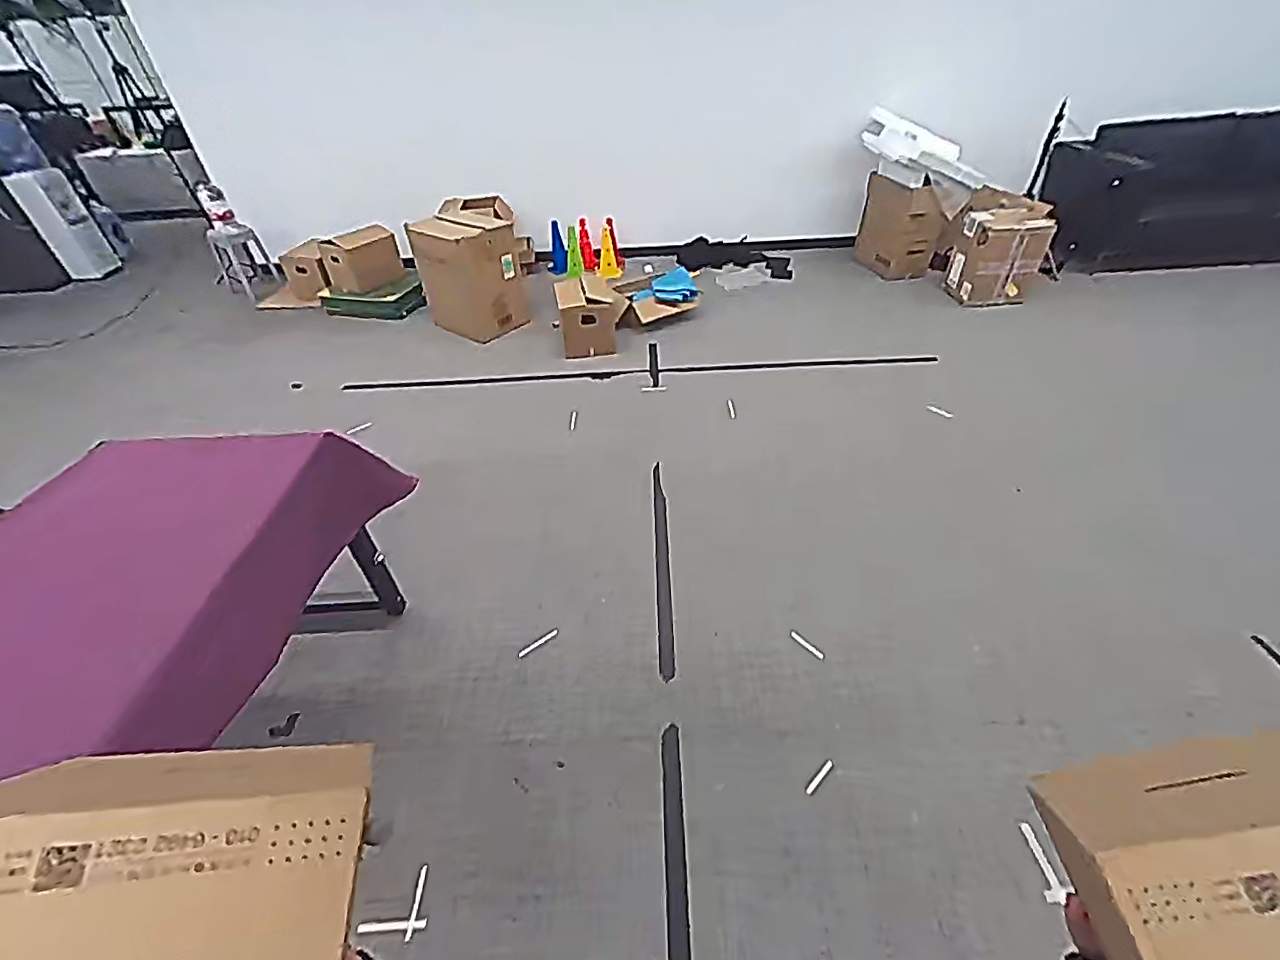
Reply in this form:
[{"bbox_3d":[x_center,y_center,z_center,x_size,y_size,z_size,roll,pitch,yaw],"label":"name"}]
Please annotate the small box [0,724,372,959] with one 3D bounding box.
[{"bbox_3d":[-0.235,0.220,0.262,0.168,0.179,0.176,9,68,-23],"label":"small box"}]
